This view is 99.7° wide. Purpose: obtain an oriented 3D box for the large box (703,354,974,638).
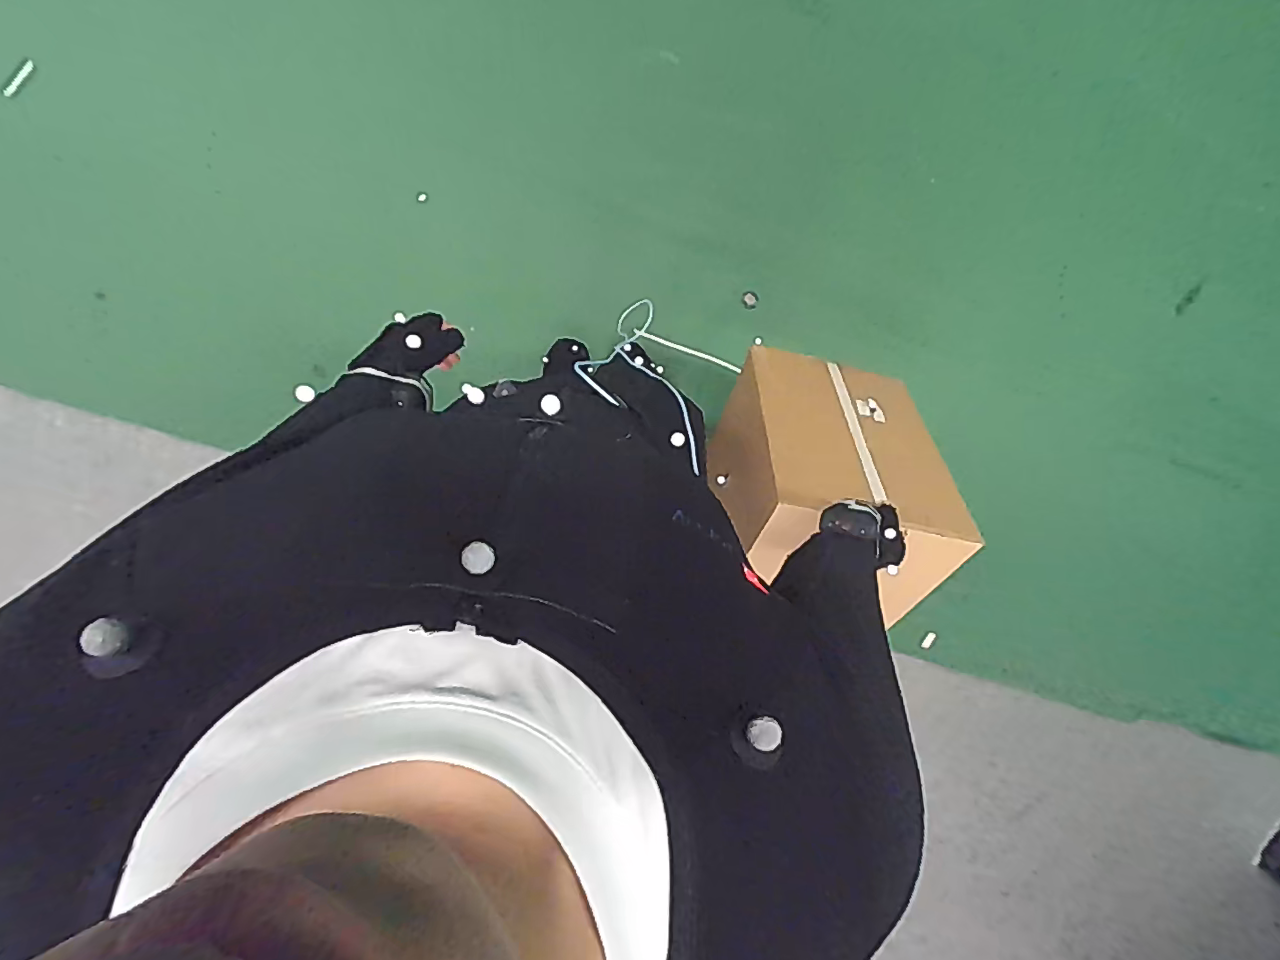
[{"bbox_3d":[0.314,0.029,1.006,0.320,0.408,0.320,12,134,-8],"label":"large box"}]
